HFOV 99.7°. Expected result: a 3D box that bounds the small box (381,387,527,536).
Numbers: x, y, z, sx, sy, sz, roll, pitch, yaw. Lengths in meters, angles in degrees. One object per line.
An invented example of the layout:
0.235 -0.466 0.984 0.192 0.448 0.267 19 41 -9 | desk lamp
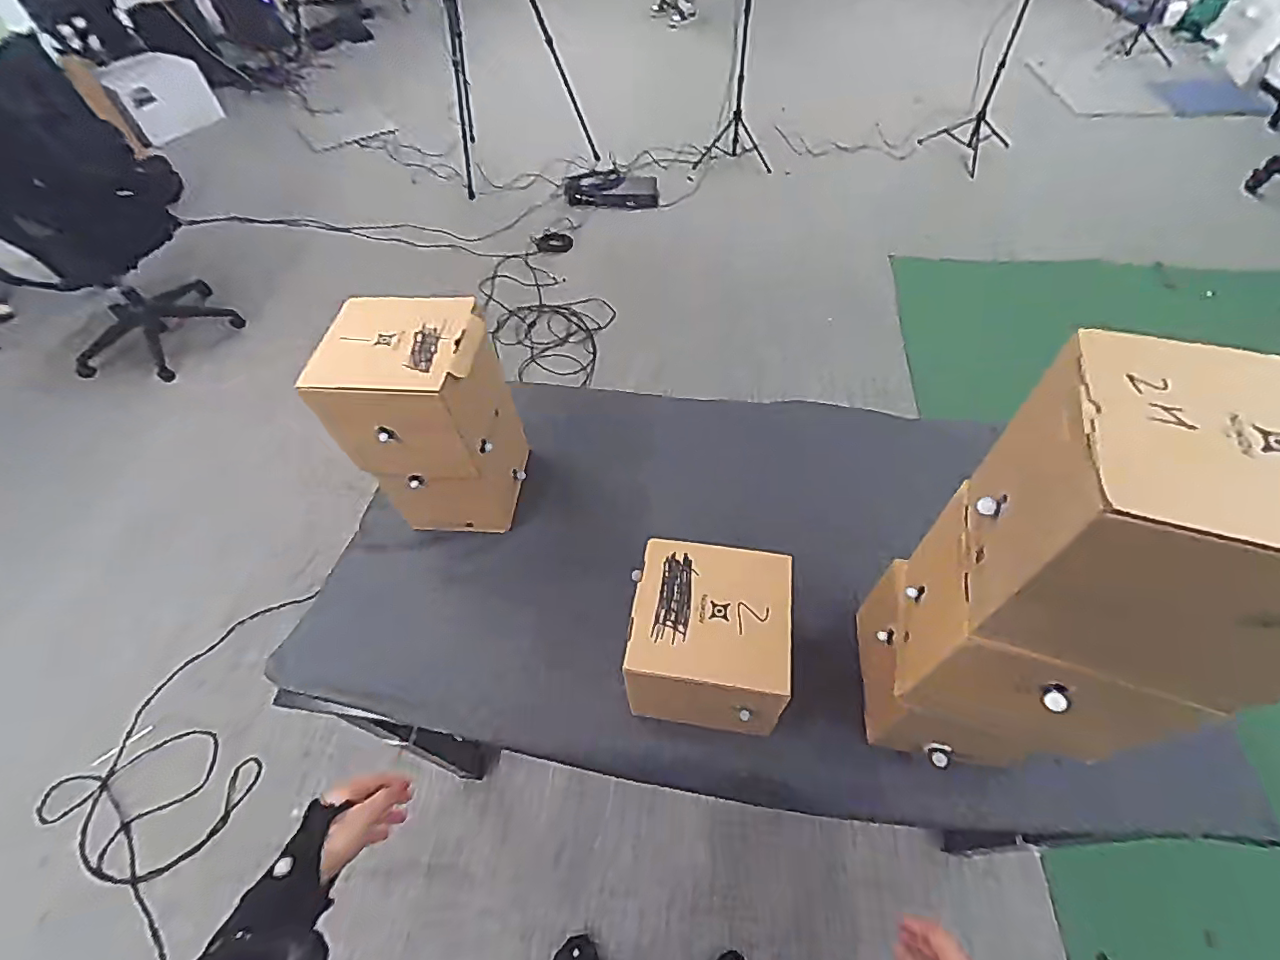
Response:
-0.286 -0.032 0.861 0.168 0.176 0.179 2 54 4 | small box

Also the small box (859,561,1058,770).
0.367 0.219 0.636 0.168 0.176 0.179 5 53 8 | small box

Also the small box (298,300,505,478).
-0.294 -0.116 0.718 0.179 0.176 0.168 2 55 5 | small box

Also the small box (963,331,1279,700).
0.353 0.029 0.370 0.179 0.176 0.168 15 54 16 | small box

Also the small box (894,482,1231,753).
0.358 0.131 0.499 0.179 0.176 0.168 14 54 15 | small box
